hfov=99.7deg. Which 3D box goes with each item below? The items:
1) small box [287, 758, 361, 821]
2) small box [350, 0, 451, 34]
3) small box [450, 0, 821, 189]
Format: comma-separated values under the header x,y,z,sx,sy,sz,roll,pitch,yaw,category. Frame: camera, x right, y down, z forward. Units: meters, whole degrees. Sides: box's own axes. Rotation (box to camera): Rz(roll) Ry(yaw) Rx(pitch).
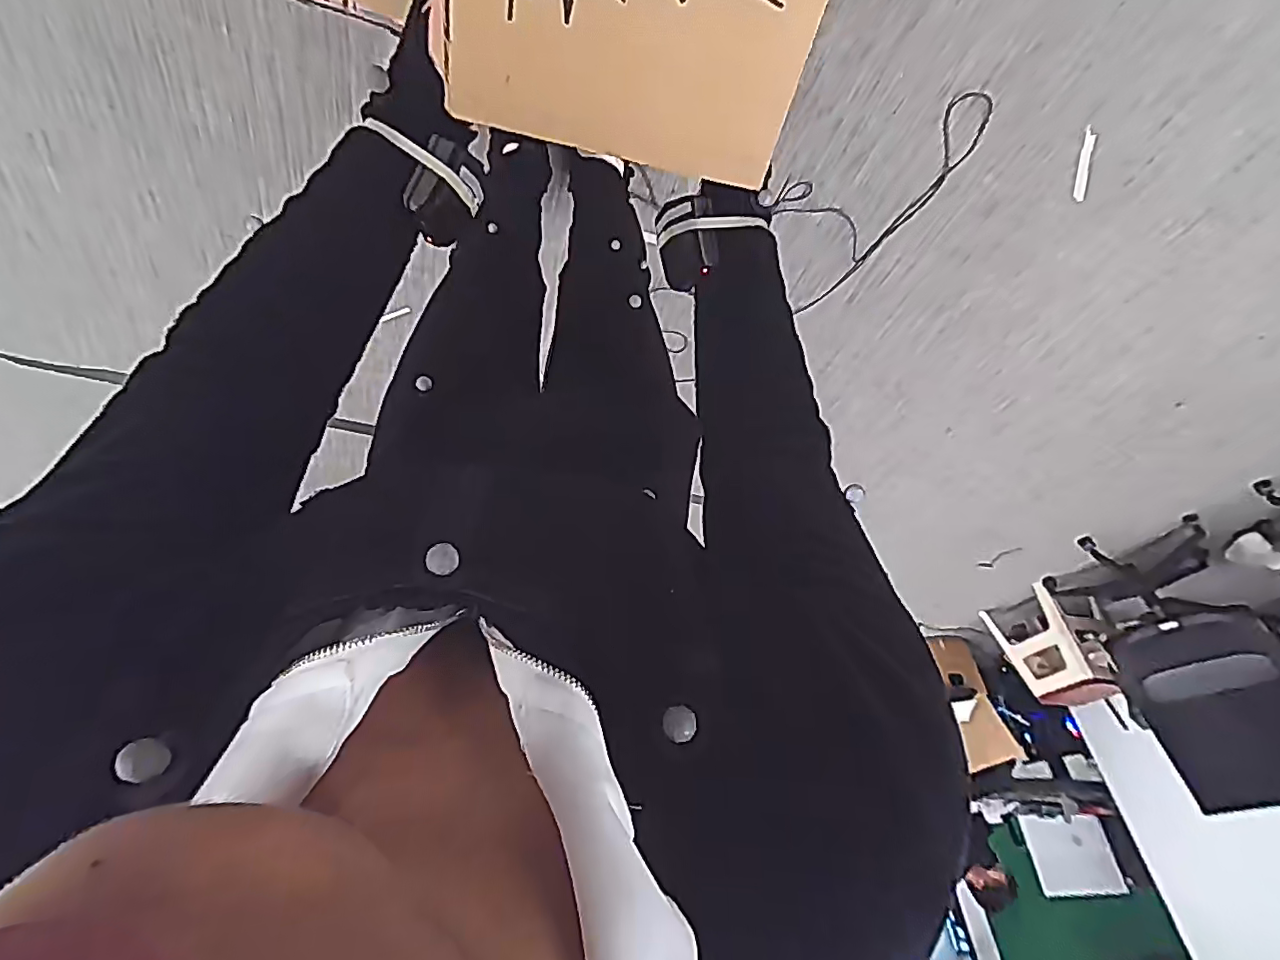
x,y,z,sx,sy,sz,roll,pitch,yaw,category
-1.097,1.083,1.887,0.168,0.176,0.179,25,135,-30,small box
-0.207,-0.477,0.383,0.168,0.176,0.179,12,143,-15,small box
-0.003,-0.296,0.307,0.179,0.176,0.168,6,134,-13,small box
